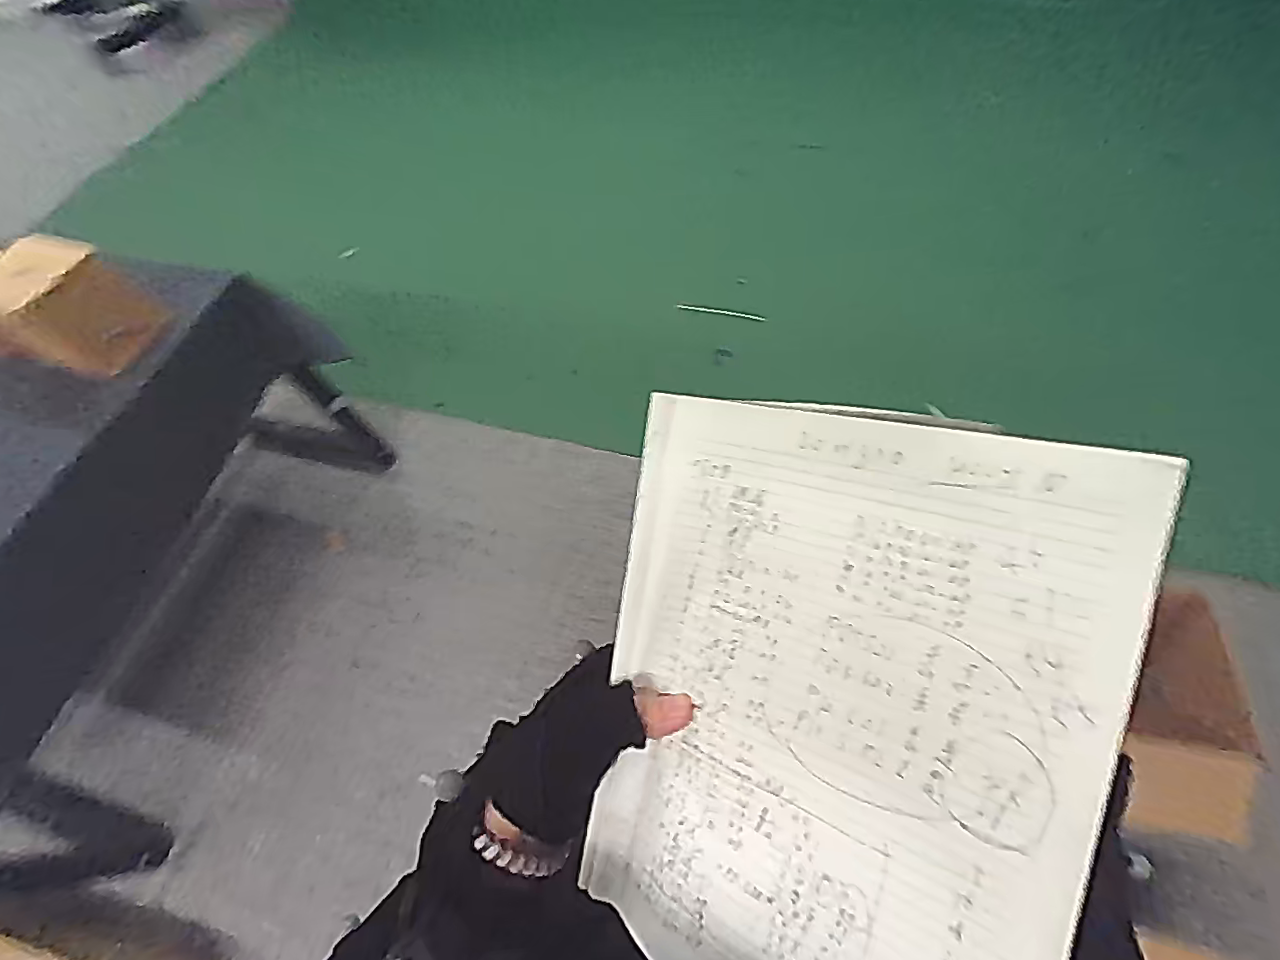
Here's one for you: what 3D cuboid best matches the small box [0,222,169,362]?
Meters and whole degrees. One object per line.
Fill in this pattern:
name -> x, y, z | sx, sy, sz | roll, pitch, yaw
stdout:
small box -> -1.051, -0.341, 0.998 | 0.179, 0.176, 0.168 | 16, 64, 13
